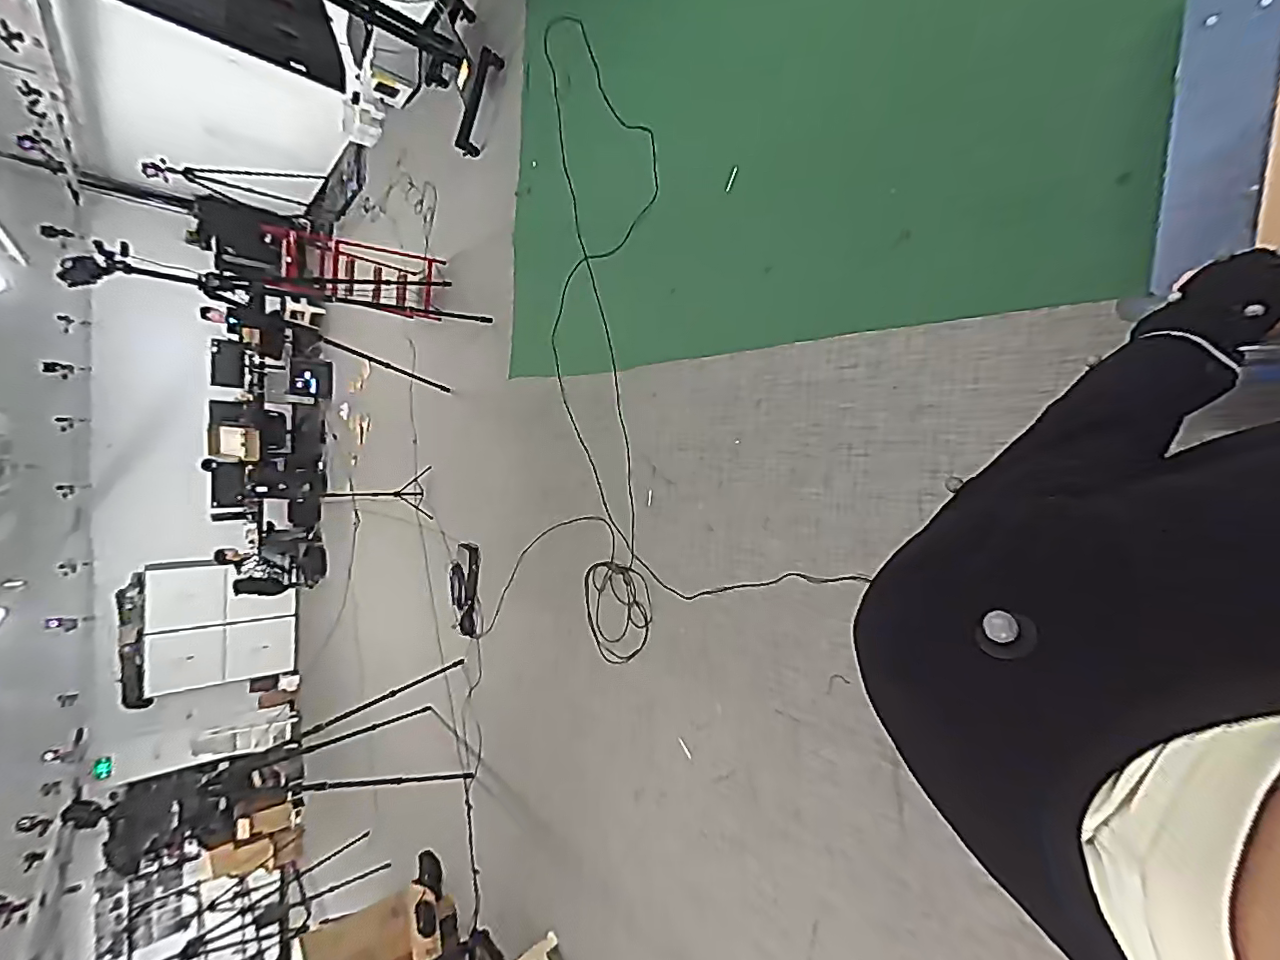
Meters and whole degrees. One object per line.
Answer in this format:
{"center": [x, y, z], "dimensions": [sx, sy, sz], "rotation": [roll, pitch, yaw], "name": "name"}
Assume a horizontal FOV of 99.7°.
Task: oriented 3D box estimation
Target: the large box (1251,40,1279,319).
{"center": [1.141, -0.482, 0.779], "dimensions": [0.320, 0.320, 0.408], "rotation": [9, 96, 48], "name": "large box"}
